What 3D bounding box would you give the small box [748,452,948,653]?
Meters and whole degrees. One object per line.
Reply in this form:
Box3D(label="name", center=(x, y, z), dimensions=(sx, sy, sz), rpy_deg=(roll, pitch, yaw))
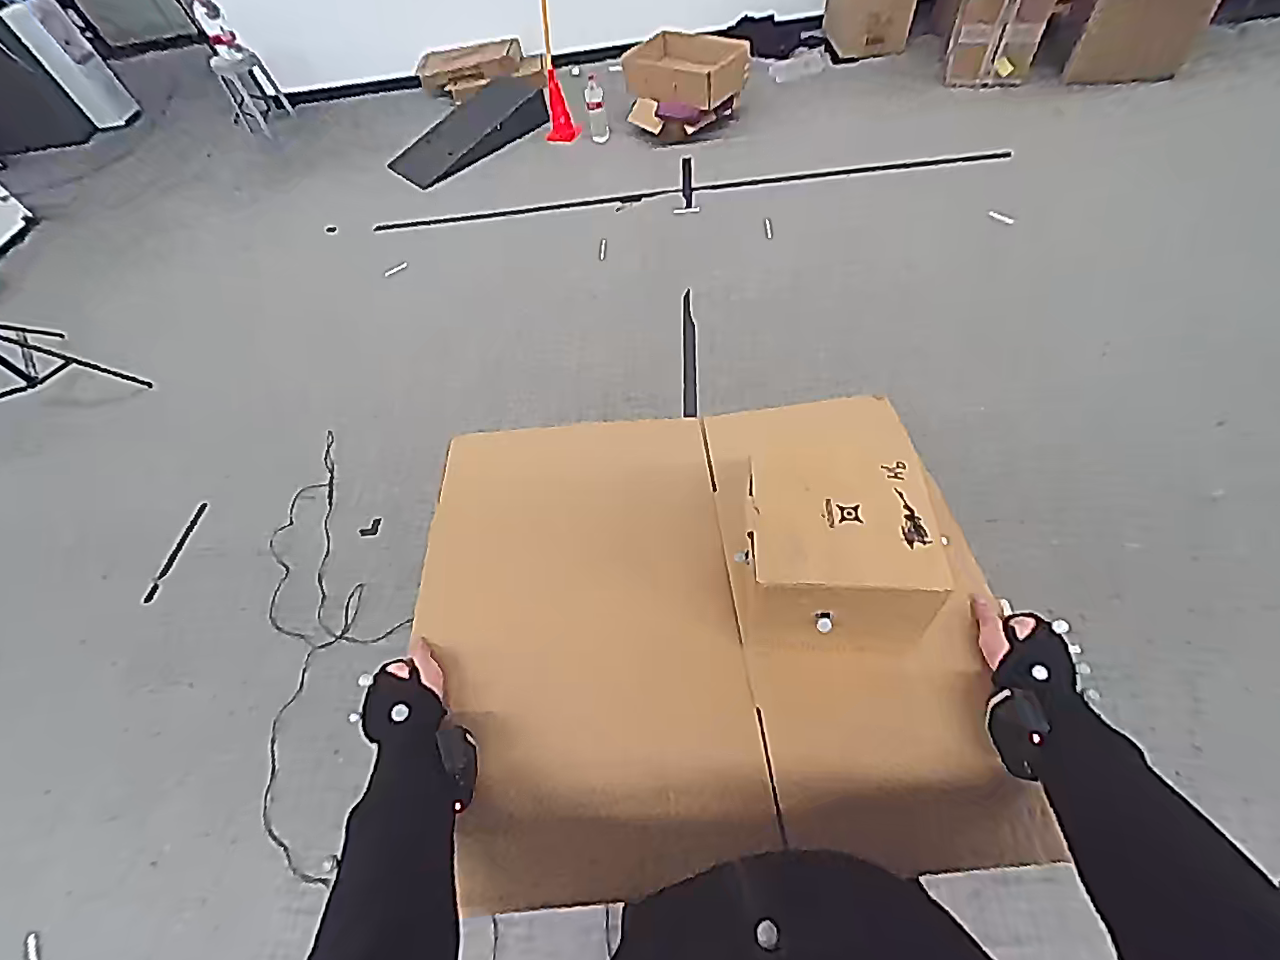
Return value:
Box3D(label="small box", center=(0.214, 0.085, 0.610), dimensions=(0.179, 0.176, 0.168), rpy_deg=(-1, 52, 10))
